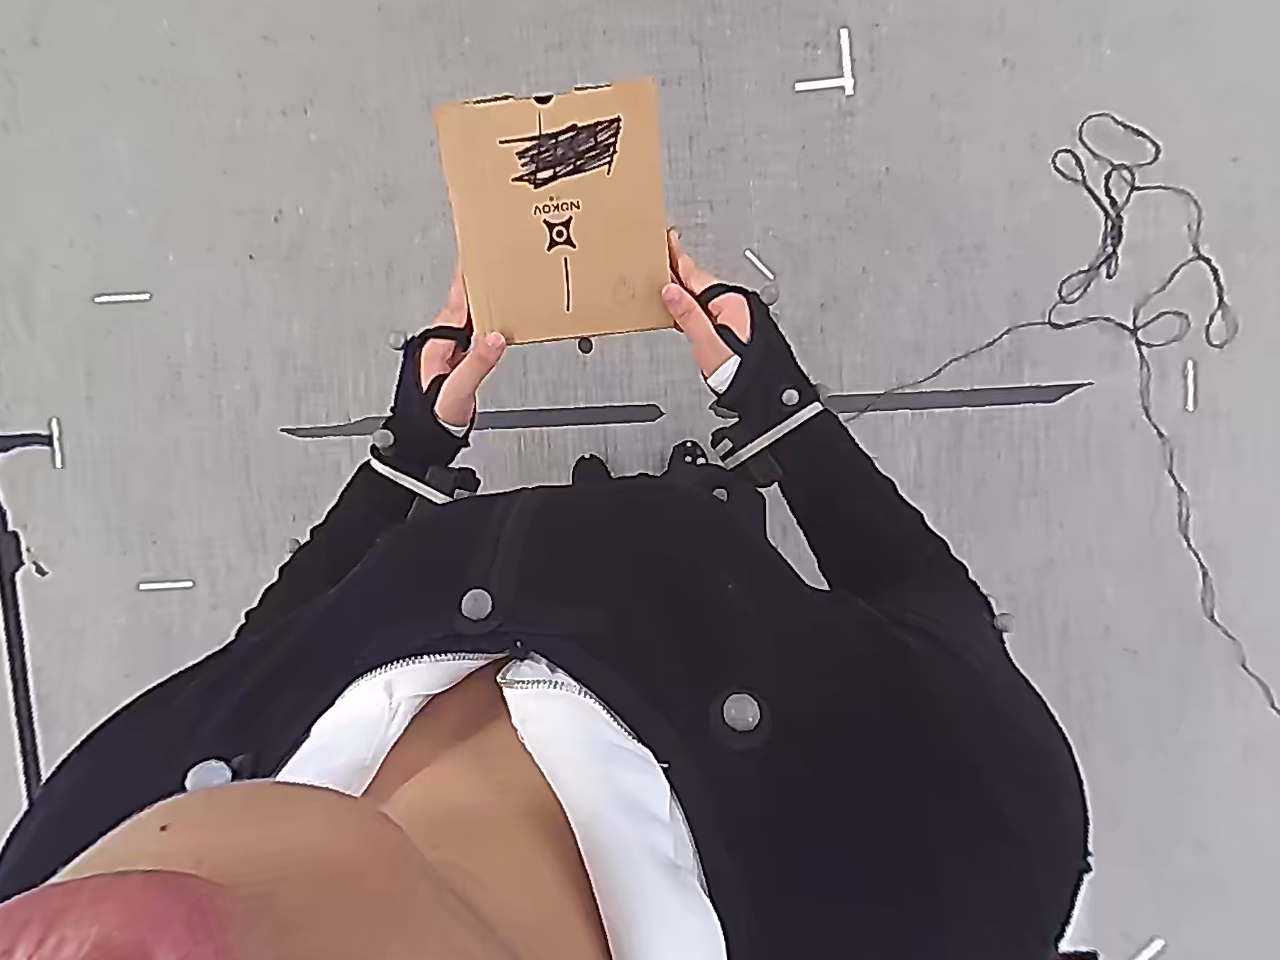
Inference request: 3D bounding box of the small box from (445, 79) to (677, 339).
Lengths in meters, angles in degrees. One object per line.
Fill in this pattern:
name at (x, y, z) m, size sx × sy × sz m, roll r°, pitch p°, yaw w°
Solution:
small box at (-0.057, -0.225, 0.496) m, size 0.168 × 0.176 × 0.179 m, roll -5°, pitch 106°, yaw 3°
